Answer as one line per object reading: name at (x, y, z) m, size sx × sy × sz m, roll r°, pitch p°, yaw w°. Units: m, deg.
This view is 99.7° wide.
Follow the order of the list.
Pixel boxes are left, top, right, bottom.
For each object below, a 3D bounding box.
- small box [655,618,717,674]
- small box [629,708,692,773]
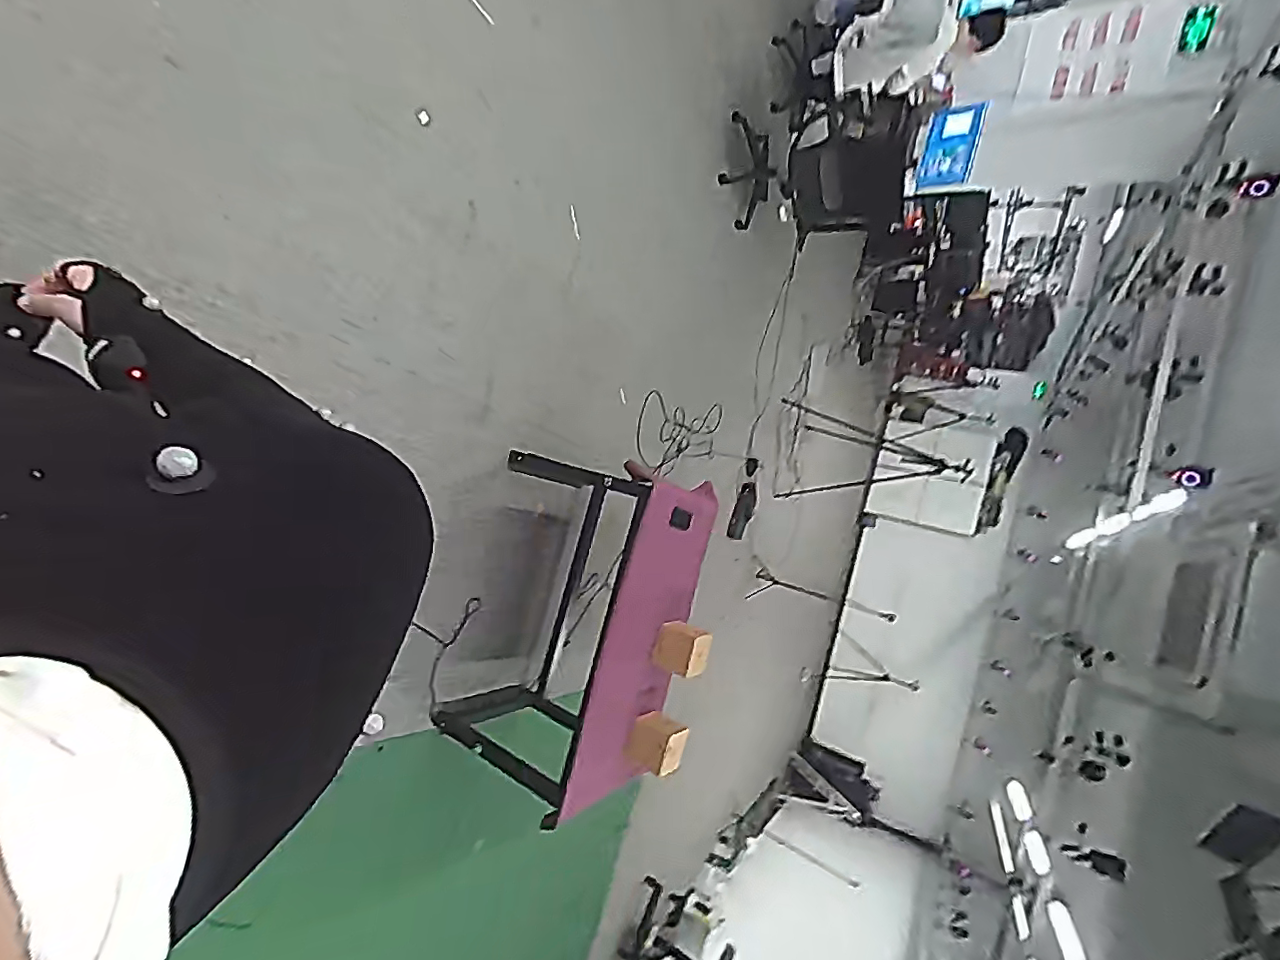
small box at (0.187, 0.666, 2.191) m, size 0.179 × 0.176 × 0.168 m, roll 18°, pitch 87°, yaw -58°
small box at (0.081, 1.040, 2.175) m, size 0.179 × 0.176 × 0.168 m, roll 22°, pitch 83°, yaw -59°
